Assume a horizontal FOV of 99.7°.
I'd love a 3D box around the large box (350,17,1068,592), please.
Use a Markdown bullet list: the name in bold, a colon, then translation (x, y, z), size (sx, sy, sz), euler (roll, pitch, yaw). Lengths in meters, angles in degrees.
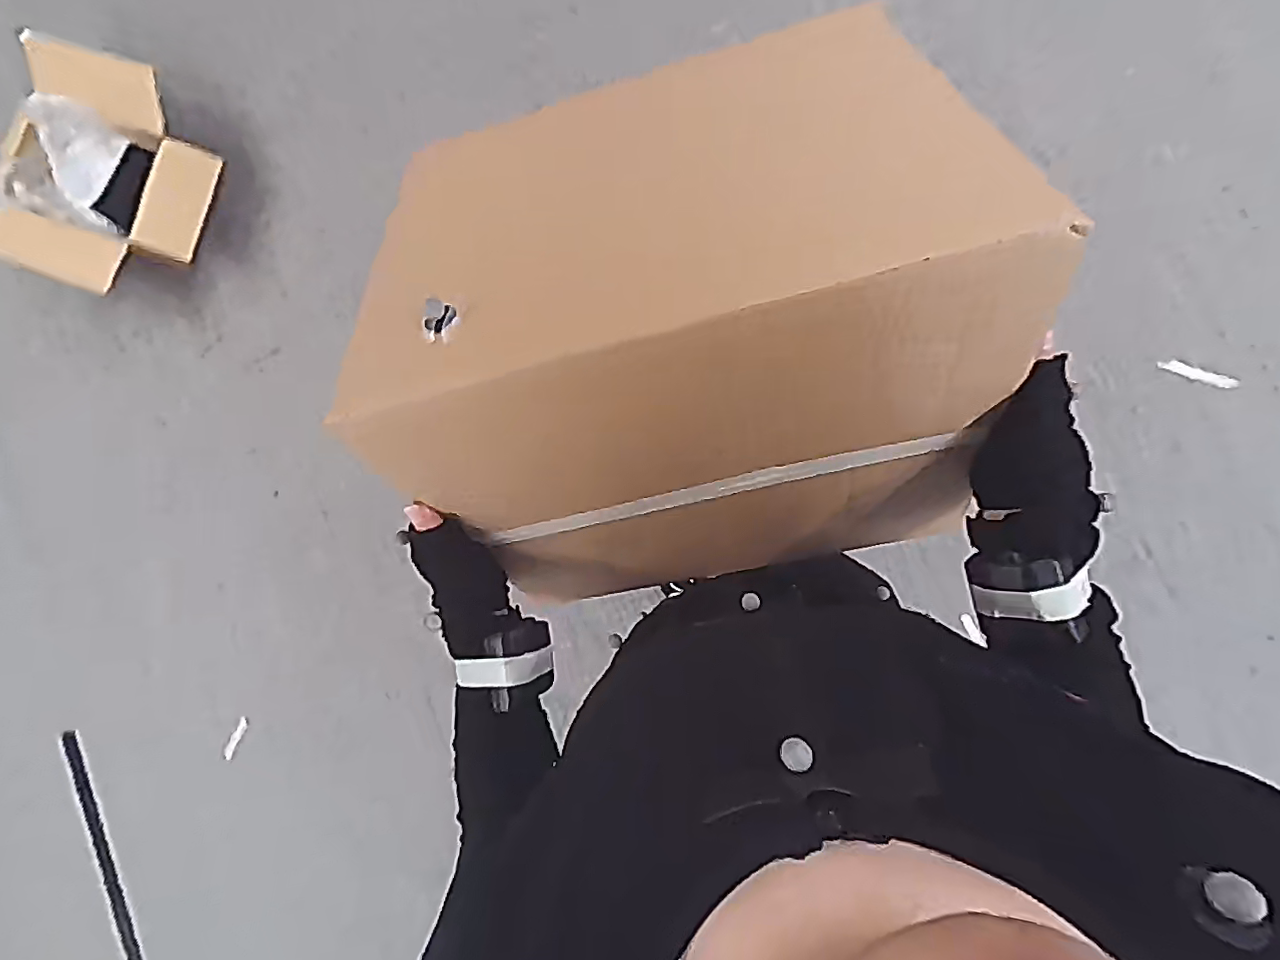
- **large box**: translation (0.039, -0.128, 0.494), size (0.408, 0.320, 0.320), euler (-12, 56, 9)
